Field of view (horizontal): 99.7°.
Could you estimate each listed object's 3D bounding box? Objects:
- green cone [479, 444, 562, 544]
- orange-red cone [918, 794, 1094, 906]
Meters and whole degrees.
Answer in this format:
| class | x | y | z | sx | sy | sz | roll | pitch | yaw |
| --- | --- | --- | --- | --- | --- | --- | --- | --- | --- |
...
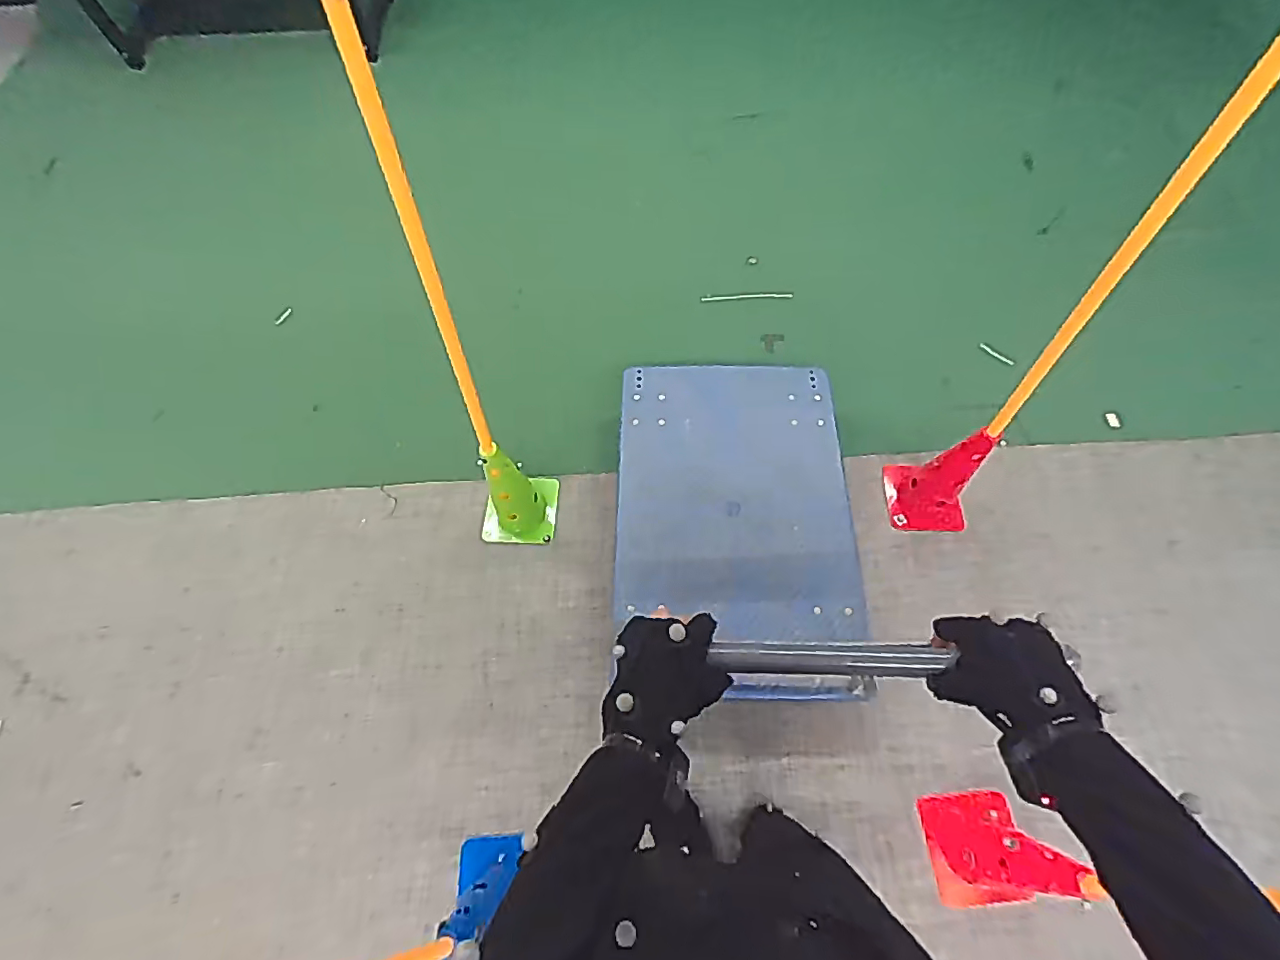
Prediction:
| class | x | y | z | sx | sy | sz | roll | pitch | yaw |
| --- | --- | --- | --- | --- | --- | --- | --- | --- | --- |
| green cone | -0.336 | 0.011 | 1.395 | 0.202 | 0.368 | 0.200 | 0 | 63 | 3 |
| orange-red cone | 0.712 | 0.717 | 1.016 | 0.199 | 0.360 | 0.198 | -4 | 63 | 1 |
